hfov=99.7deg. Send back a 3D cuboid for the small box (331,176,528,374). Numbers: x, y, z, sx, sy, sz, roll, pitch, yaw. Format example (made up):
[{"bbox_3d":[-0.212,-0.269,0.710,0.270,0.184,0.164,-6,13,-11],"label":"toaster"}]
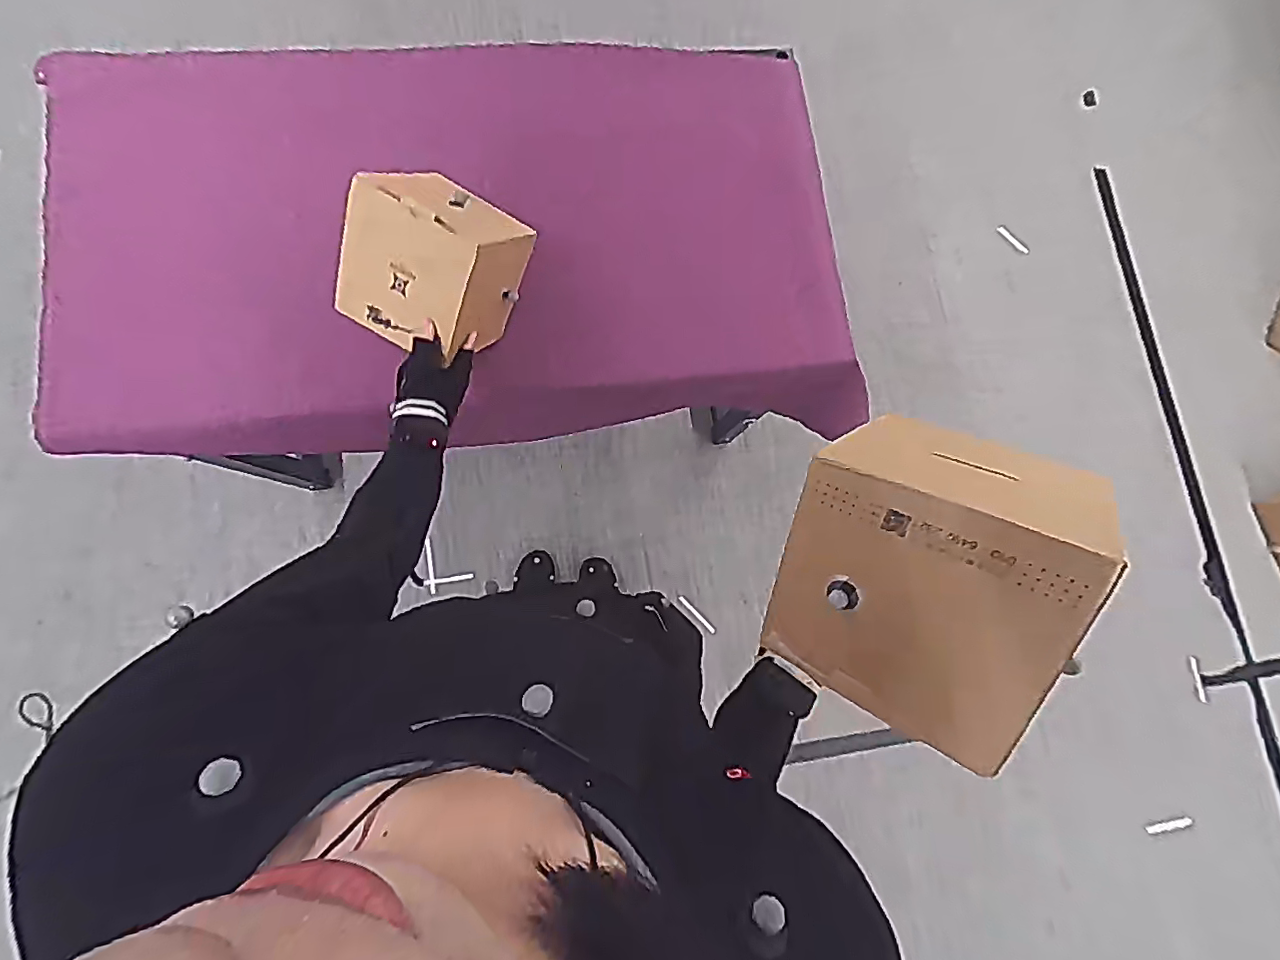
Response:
[{"bbox_3d":[-0.271,-0.277,0.722,0.168,0.176,0.179,30,122,-1],"label":"small box"}]

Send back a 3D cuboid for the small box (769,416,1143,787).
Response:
[{"bbox_3d":[0.219,0.061,0.391,0.168,0.179,0.176,25,120,31],"label":"small box"}]
